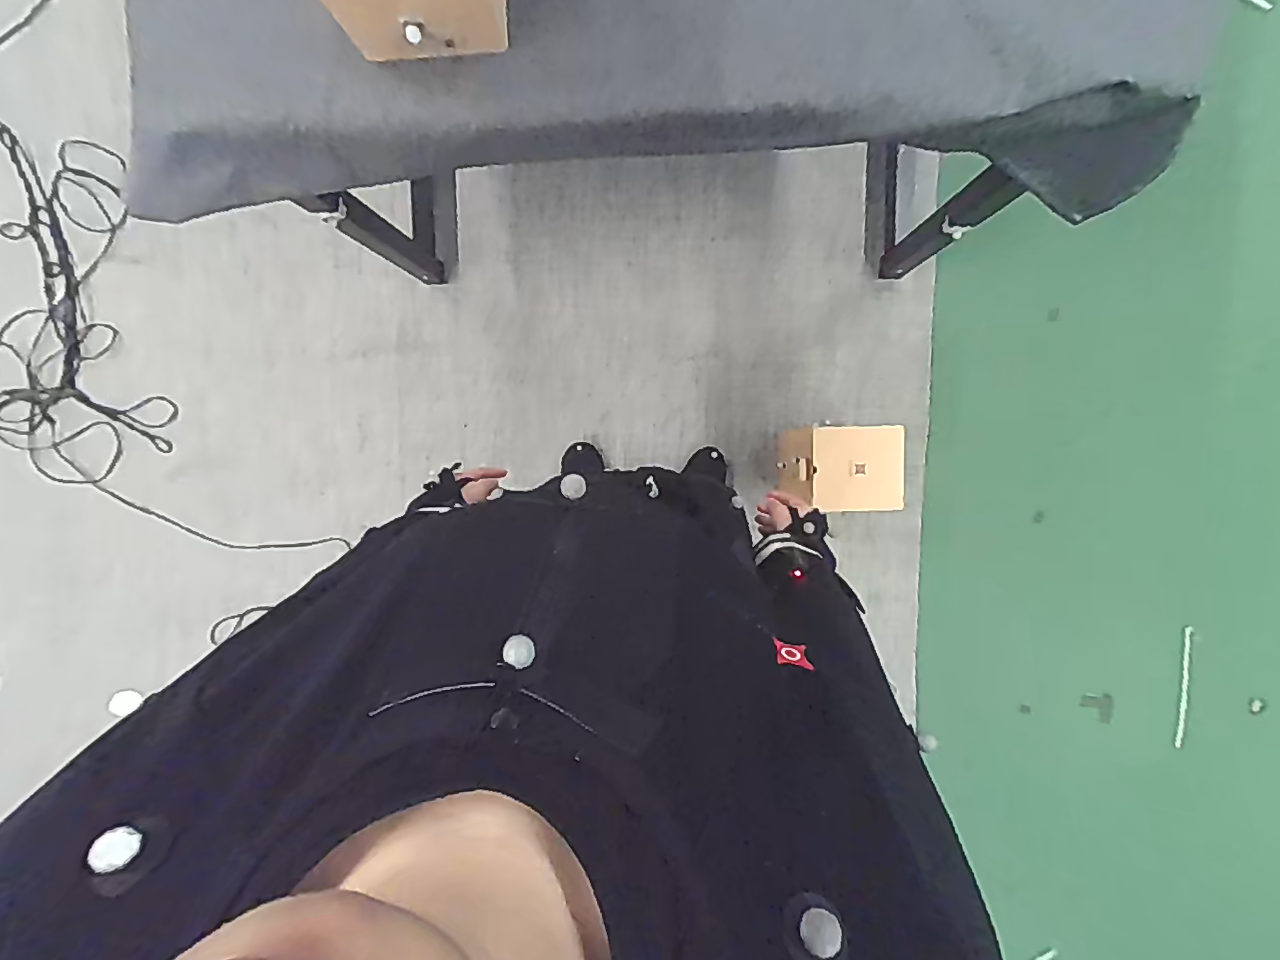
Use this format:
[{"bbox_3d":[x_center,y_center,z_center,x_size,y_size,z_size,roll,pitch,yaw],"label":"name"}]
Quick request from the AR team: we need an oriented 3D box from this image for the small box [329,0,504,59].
[{"bbox_3d":[-0.238,-0.558,0.523,0.168,0.176,0.179,-2,95,3],"label":"small box"}]

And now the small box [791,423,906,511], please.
[{"bbox_3d":[0.418,-0.031,1.104,0.179,0.176,0.168,-2,95,3],"label":"small box"}]
